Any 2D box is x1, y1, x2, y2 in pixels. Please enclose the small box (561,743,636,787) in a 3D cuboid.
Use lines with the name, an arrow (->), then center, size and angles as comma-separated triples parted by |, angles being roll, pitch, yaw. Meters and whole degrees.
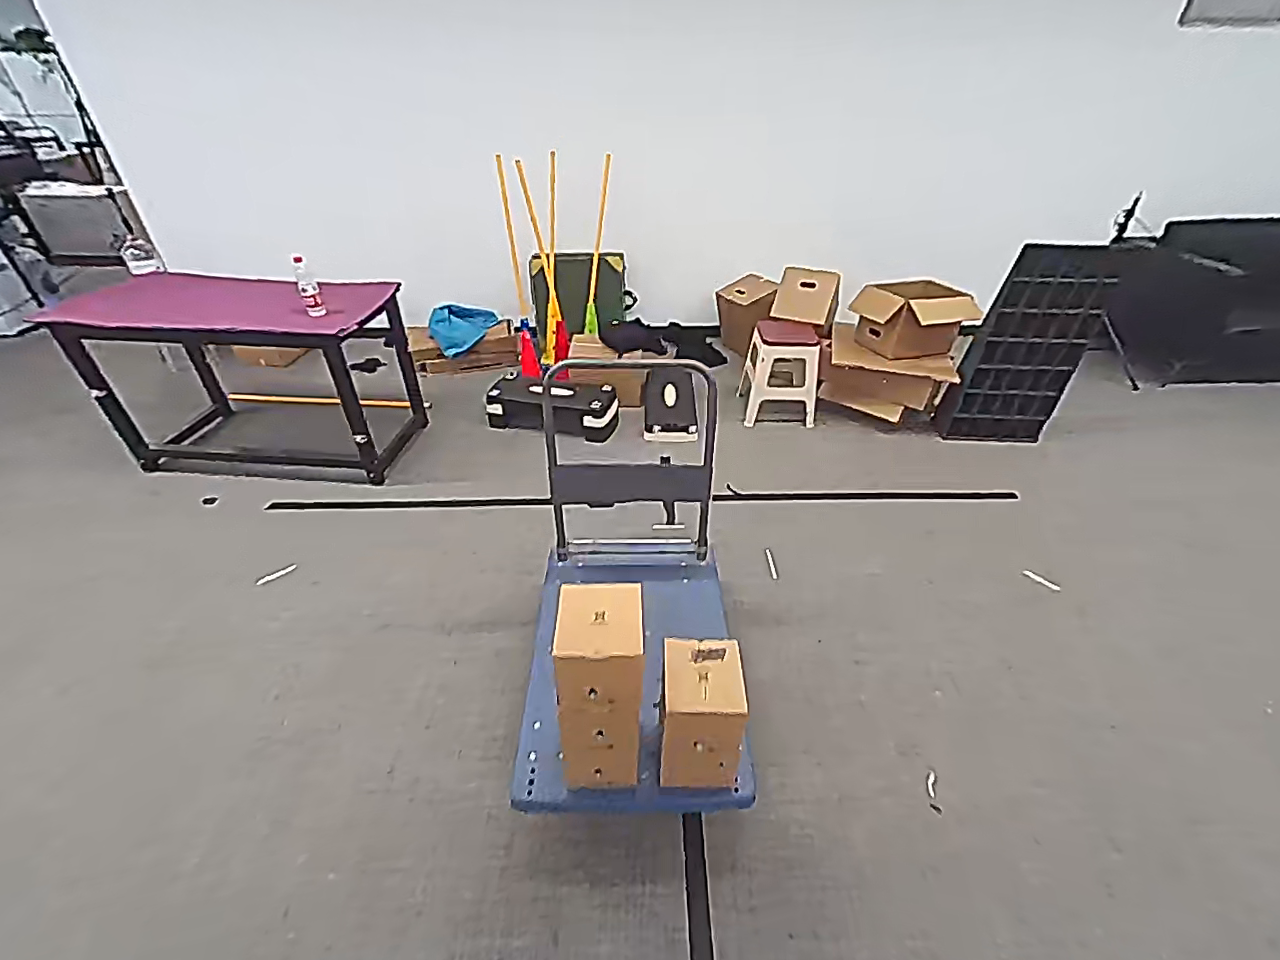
small box -> -0.092, 0.603, 1.277 | 0.168, 0.176, 0.179 | 0, 35, -3

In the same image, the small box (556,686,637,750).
small box -> -0.090, 0.470, 1.179 | 0.168, 0.176, 0.179 | -1, 37, -4

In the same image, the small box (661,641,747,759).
small box -> 0.131, 0.476, 1.178 | 0.168, 0.176, 0.179 | 1, 36, 1

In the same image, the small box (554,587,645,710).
small box -> -0.078, 0.336, 1.087 | 0.168, 0.176, 0.179 | 0, 36, -2
